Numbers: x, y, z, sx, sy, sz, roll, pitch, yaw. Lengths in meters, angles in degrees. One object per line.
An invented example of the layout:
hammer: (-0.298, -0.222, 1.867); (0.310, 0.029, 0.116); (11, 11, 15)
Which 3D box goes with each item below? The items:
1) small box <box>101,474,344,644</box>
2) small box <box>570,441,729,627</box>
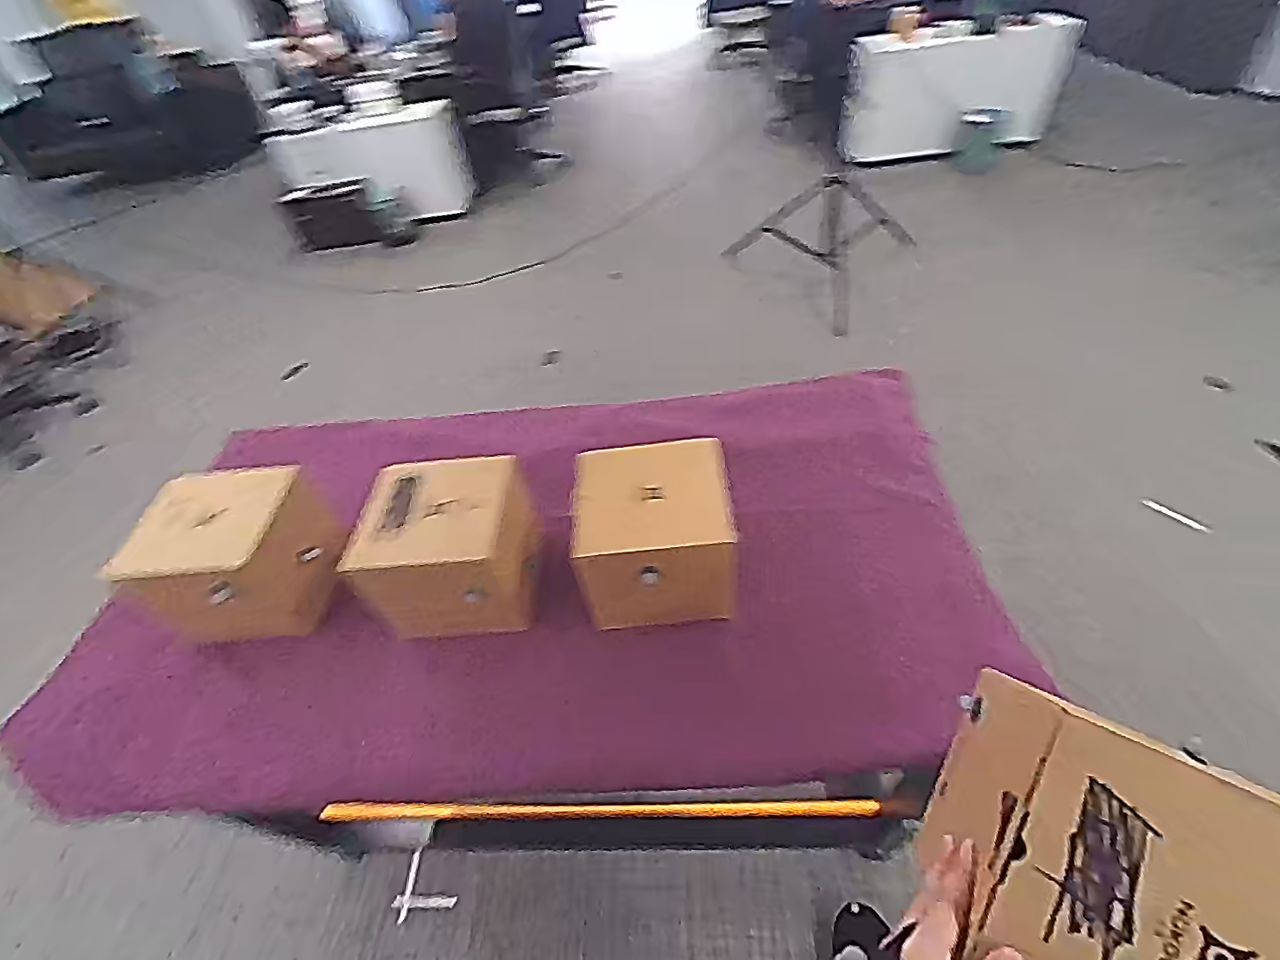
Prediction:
small box: (-0.550, 0.112, 0.748); (0.179, 0.176, 0.168); (-5, 46, 2)
small box: (0.016, 0.073, 0.698); (0.179, 0.176, 0.168); (-7, 47, 4)
